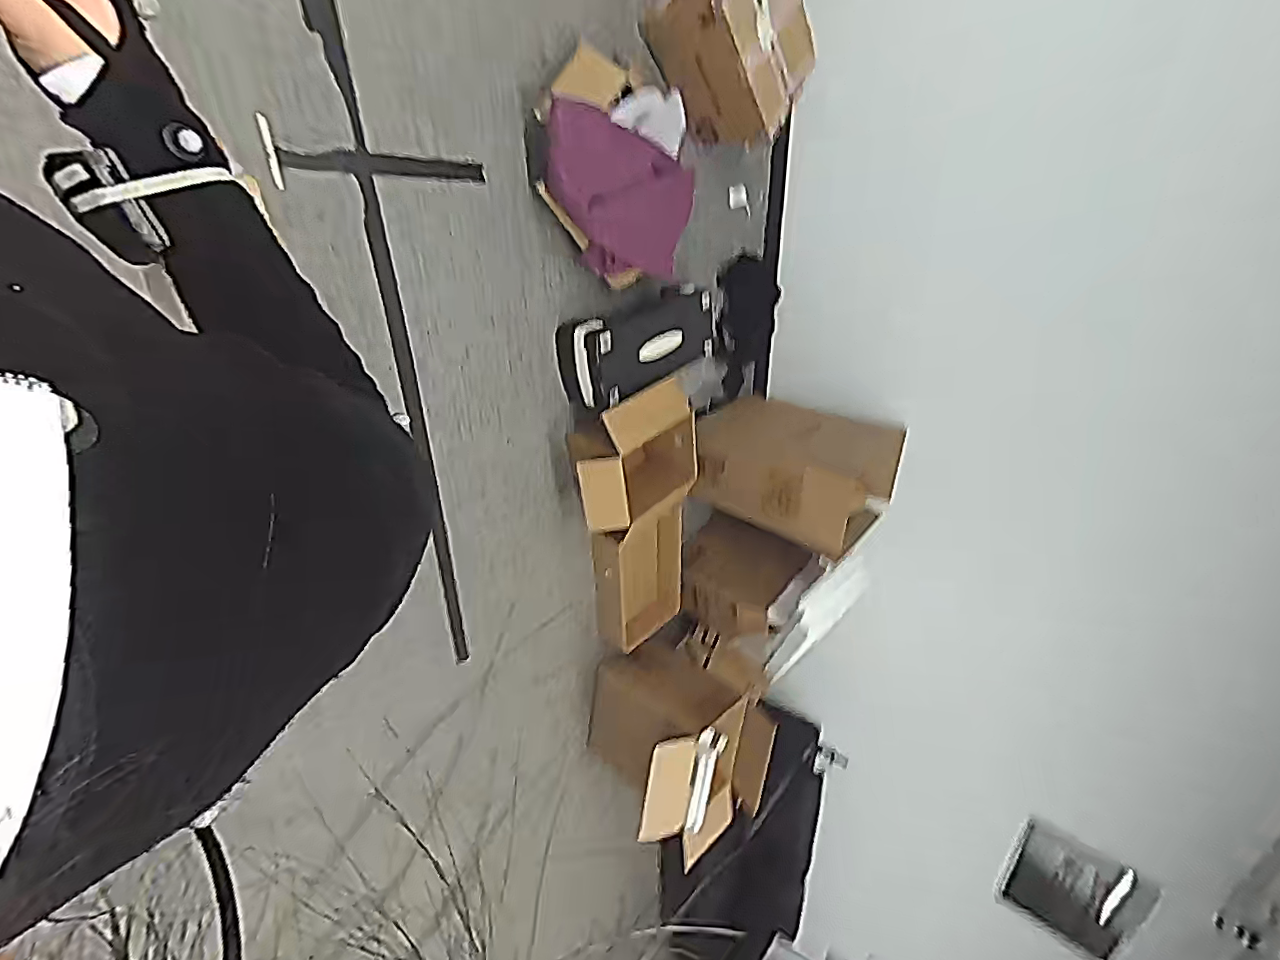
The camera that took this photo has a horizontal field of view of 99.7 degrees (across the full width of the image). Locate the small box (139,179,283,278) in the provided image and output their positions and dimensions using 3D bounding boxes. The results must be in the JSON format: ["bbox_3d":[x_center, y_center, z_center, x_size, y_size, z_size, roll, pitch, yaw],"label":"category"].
[{"bbox_3d":[-0.853,-0.498,1.074,0.179,0.176,0.168,-27,126,-40],"label":"small box"}]
